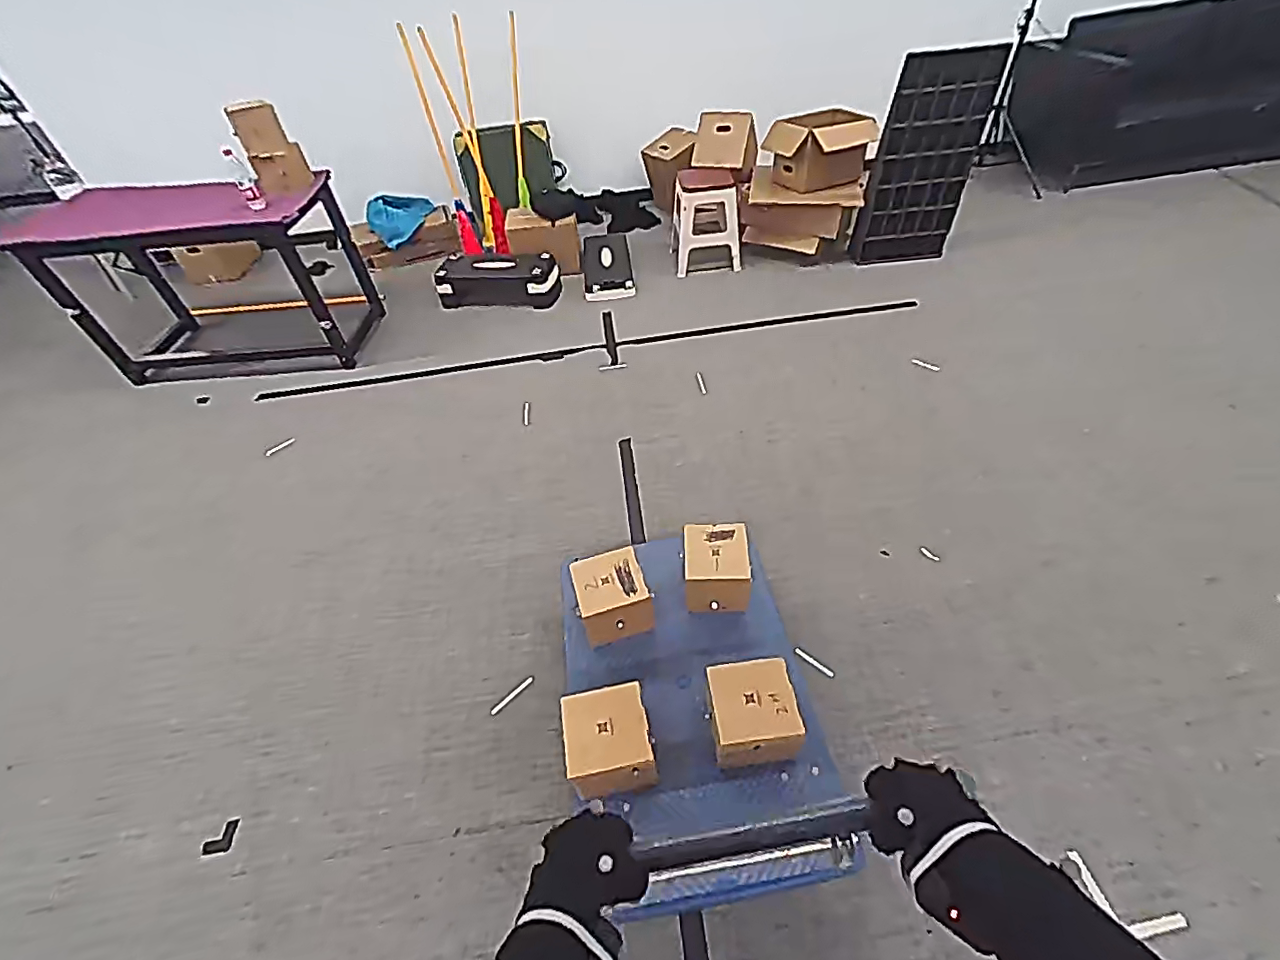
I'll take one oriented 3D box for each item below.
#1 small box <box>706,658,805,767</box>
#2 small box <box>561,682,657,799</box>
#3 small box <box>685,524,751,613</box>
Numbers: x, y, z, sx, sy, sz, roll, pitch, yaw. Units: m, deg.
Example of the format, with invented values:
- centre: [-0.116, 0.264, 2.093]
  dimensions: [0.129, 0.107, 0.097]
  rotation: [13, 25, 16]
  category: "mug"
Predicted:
- centre: [0.246, 0.516, 1.192]
  dimensions: [0.179, 0.176, 0.168]
  rotation: [-7, 47, -1]
  category: "small box"
- centre: [-0.066, 0.569, 1.176]
  dimensions: [0.179, 0.176, 0.168]
  rotation: [-10, 47, -6]
  category: "small box"
- centre: [0.203, 0.238, 1.456]
  dimensions: [0.168, 0.176, 0.179]
  rotation: [-1, 48, 5]
  category: "small box"
